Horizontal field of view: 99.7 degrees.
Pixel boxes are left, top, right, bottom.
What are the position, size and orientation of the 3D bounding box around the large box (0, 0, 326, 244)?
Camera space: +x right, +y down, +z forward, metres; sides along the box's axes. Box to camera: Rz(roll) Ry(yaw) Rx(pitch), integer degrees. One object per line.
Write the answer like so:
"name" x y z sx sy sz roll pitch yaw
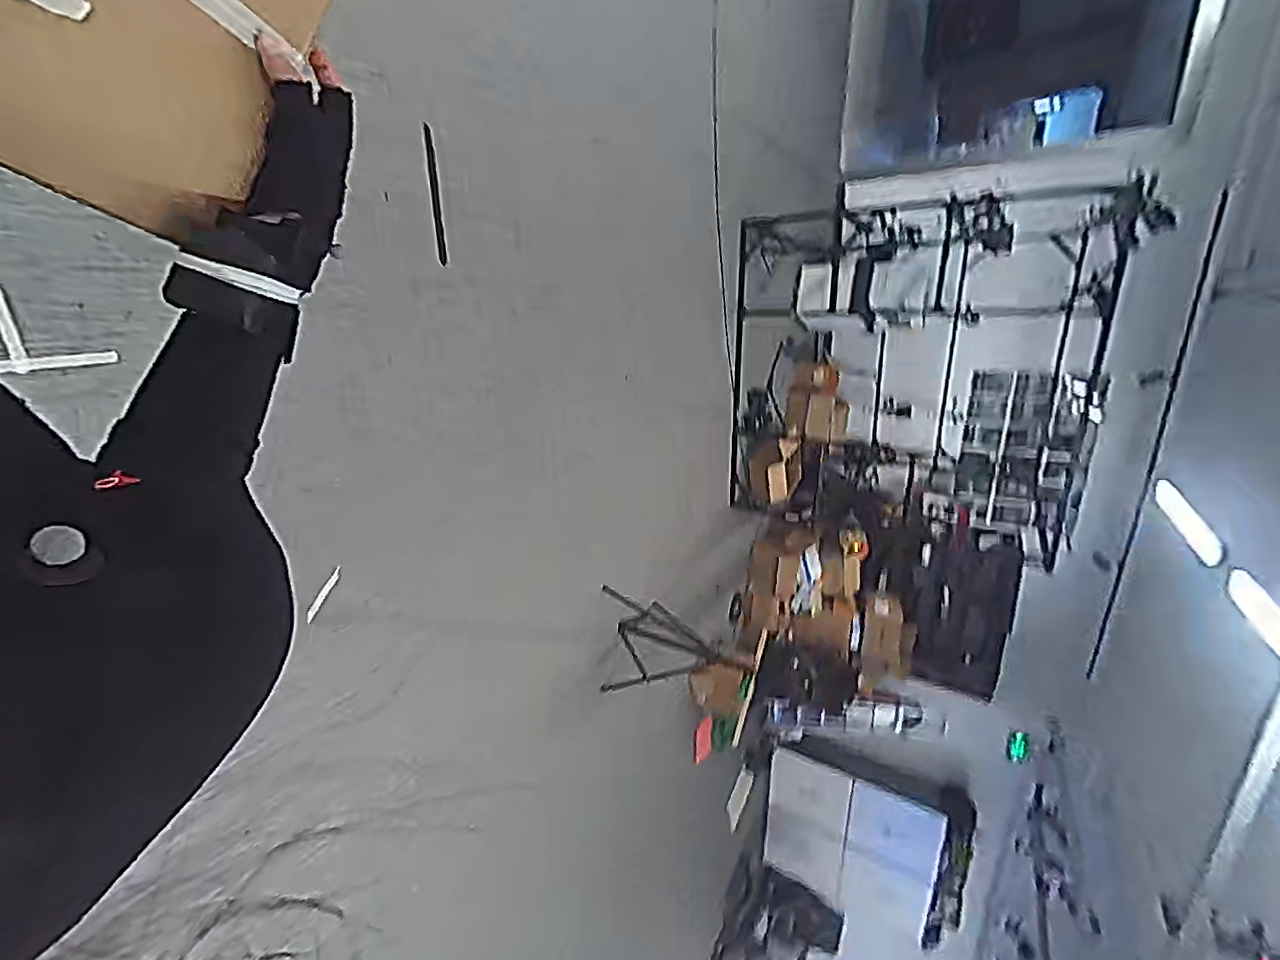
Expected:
"large box" -0.475 -0.408 0.317 0.408 0.320 0.320 20 96 -61
